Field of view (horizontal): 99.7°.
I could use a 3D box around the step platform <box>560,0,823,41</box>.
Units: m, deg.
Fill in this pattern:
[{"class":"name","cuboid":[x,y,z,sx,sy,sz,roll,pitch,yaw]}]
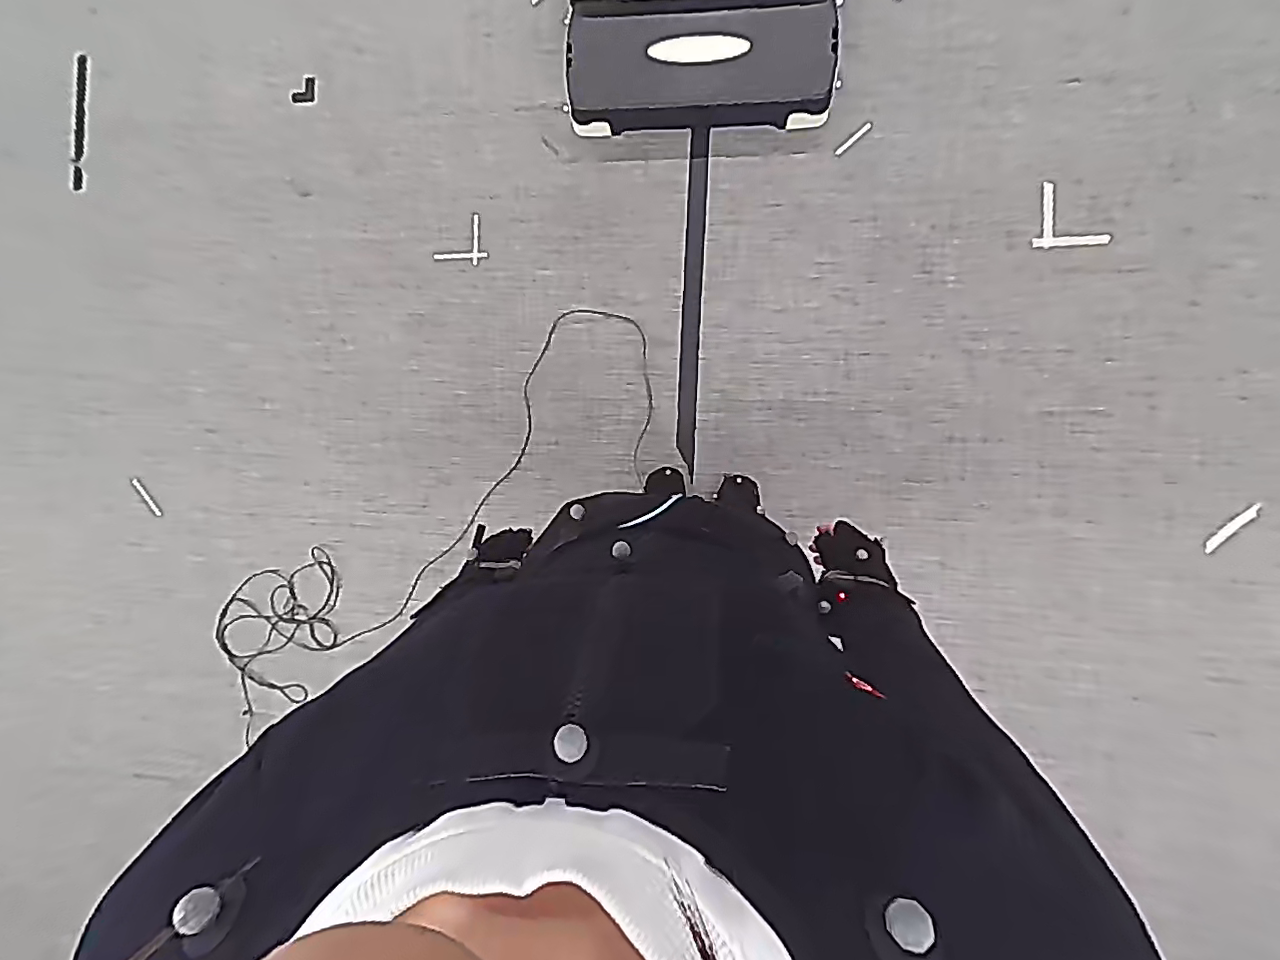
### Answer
[{"class":"step platform","cuboid":[0.127,-1.309,1.320,0.684,0.204,0.286,1,92,6]}]
